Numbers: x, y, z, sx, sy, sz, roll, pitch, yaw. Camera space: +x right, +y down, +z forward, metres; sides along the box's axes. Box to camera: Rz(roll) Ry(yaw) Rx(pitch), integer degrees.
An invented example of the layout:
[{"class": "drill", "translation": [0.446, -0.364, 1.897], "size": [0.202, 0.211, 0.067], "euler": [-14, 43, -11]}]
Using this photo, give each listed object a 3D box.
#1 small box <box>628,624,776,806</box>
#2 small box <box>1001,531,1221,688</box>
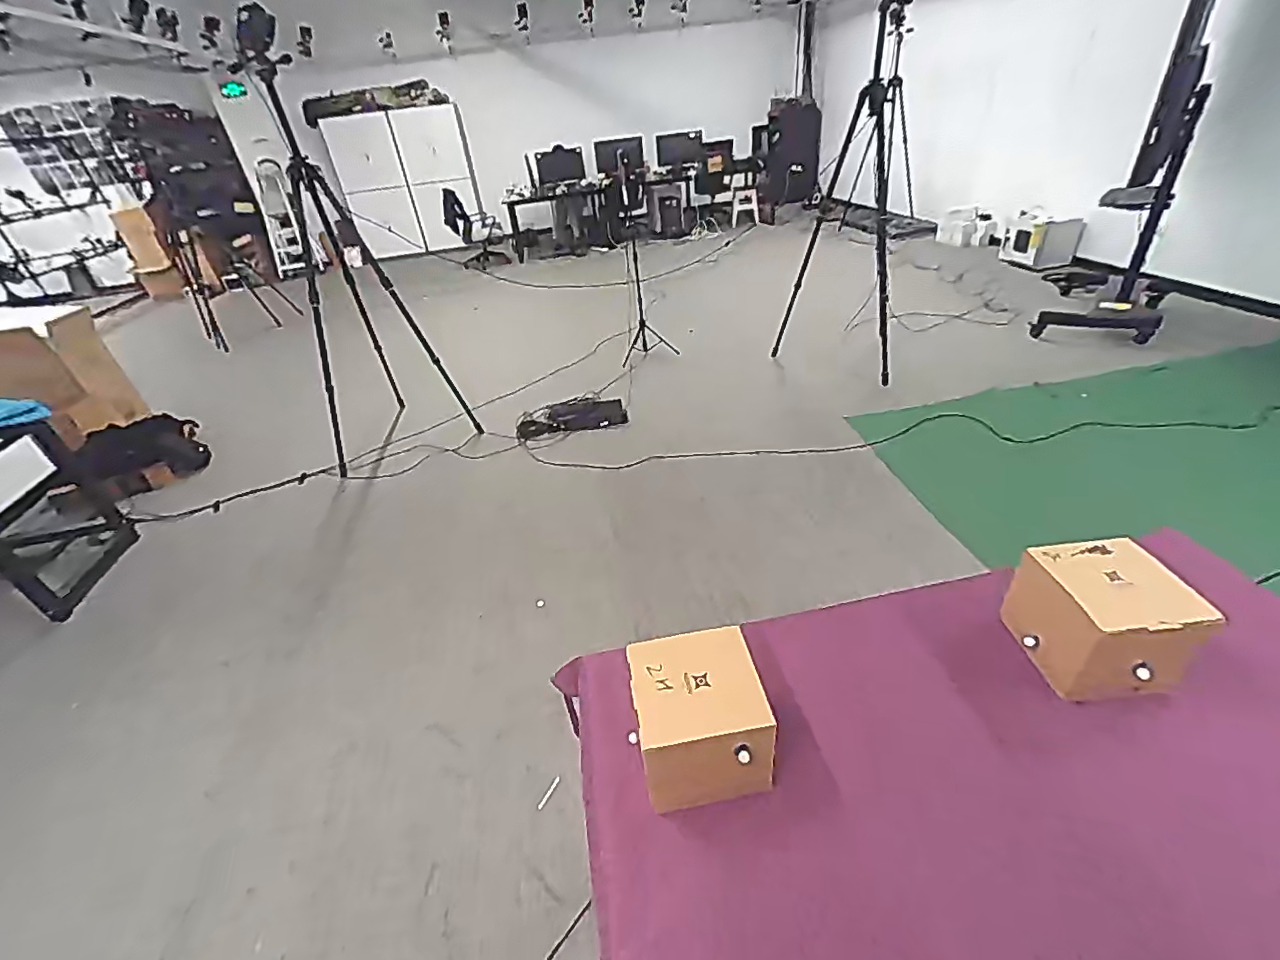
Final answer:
[{"class": "small box", "translation": [0.086, 0.341, 0.788], "size": [0.179, 0.176, 0.168], "euler": [-10, 34, -3]}, {"class": "small box", "translation": [0.713, 0.207, 0.847], "size": [0.168, 0.176, 0.179], "euler": [-6, 35, 2]}]
